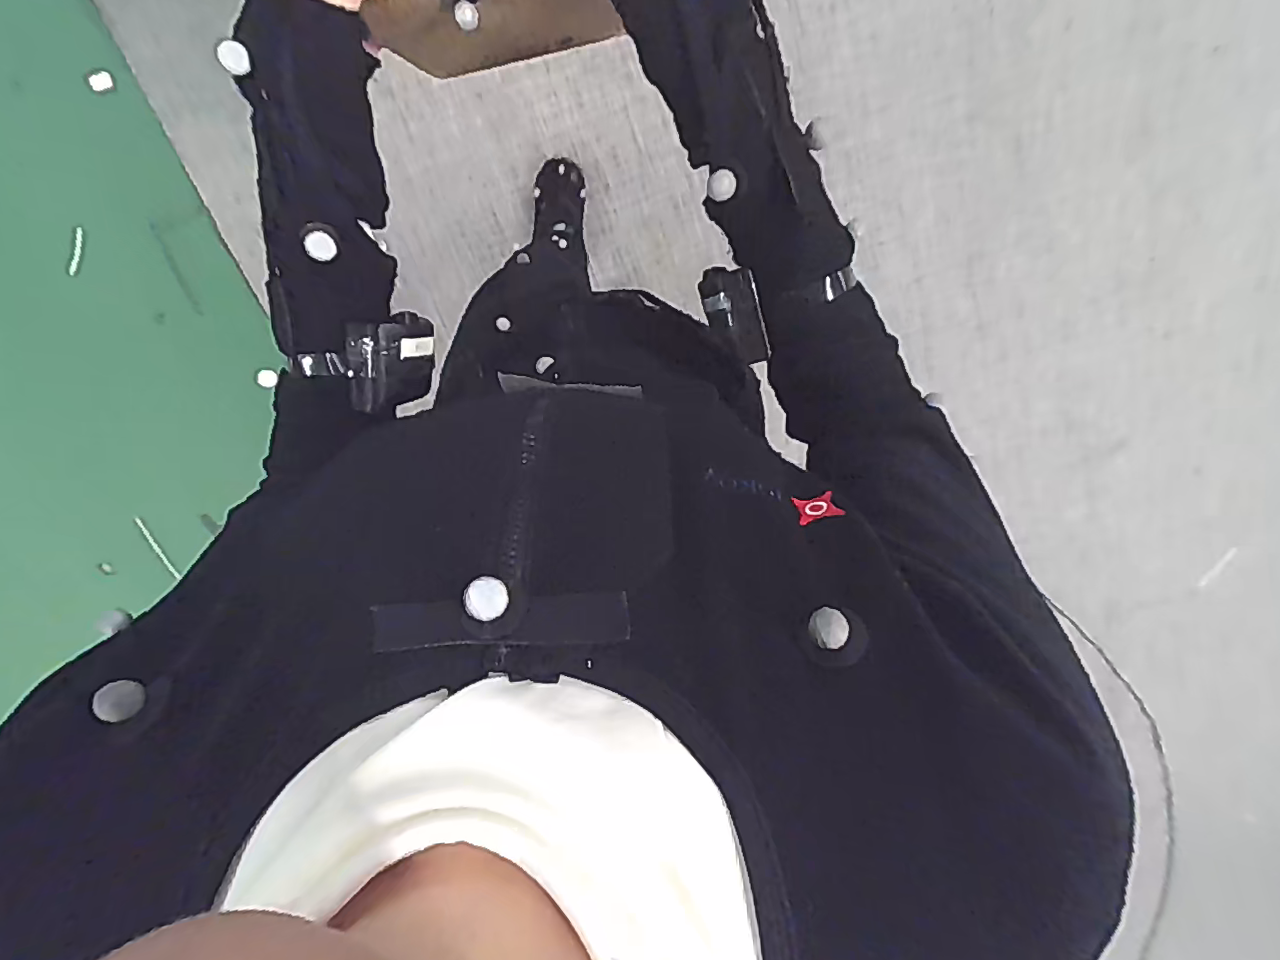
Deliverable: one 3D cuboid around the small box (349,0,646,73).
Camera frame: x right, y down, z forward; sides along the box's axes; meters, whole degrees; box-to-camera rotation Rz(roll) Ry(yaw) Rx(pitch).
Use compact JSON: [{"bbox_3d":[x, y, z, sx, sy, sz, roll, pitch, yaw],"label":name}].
[{"bbox_3d":[-0.090,-0.359,0.294,0.168,0.176,0.179,-9,117,6],"label":"small box"}]
